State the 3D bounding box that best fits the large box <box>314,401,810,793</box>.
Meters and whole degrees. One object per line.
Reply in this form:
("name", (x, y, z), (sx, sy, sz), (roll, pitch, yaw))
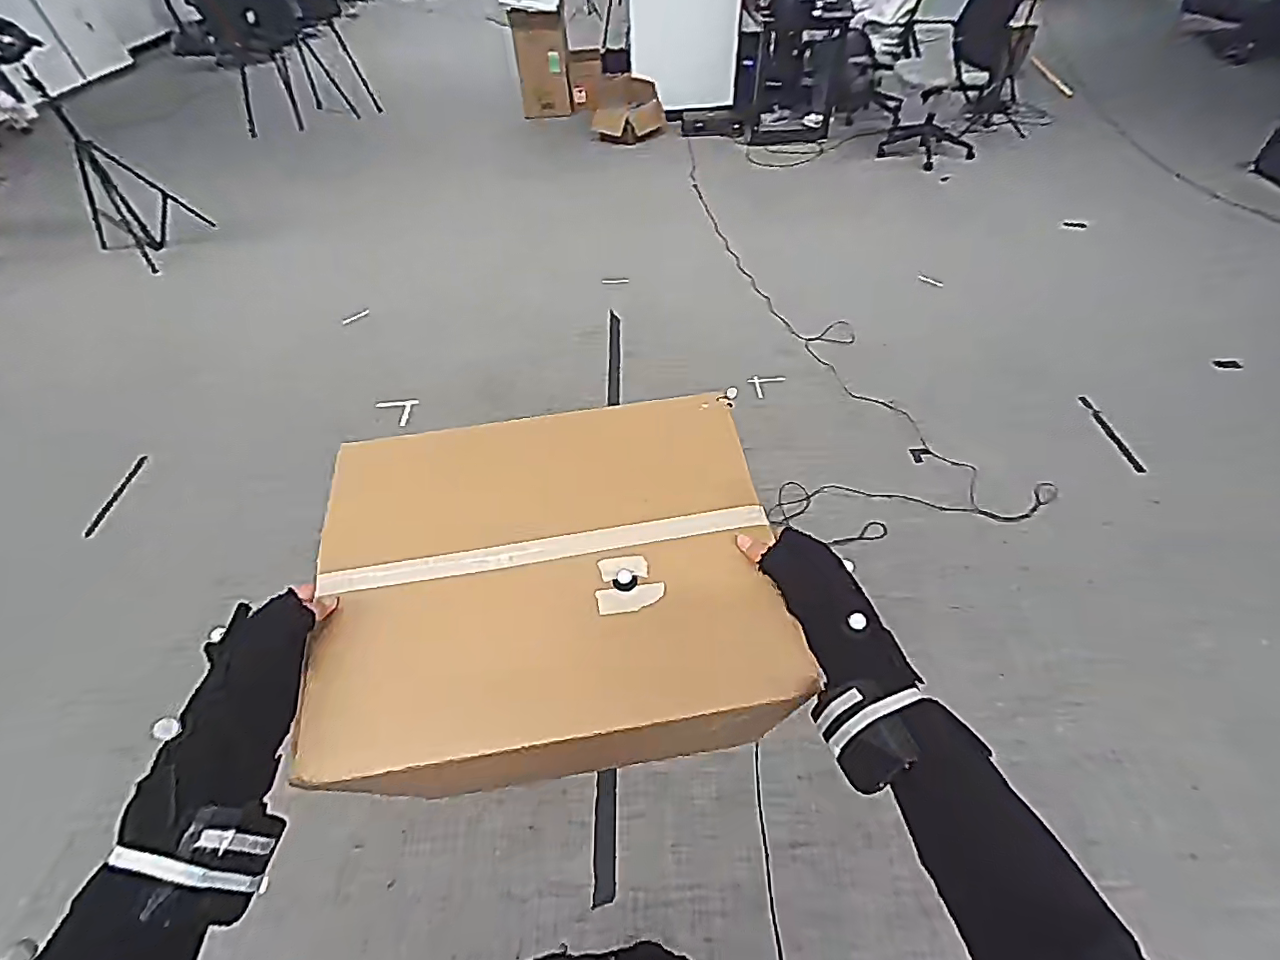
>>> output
("large box", (-0.077, 0.147, 0.628), (0.408, 0.320, 0.320), (-8, 58, -4))
